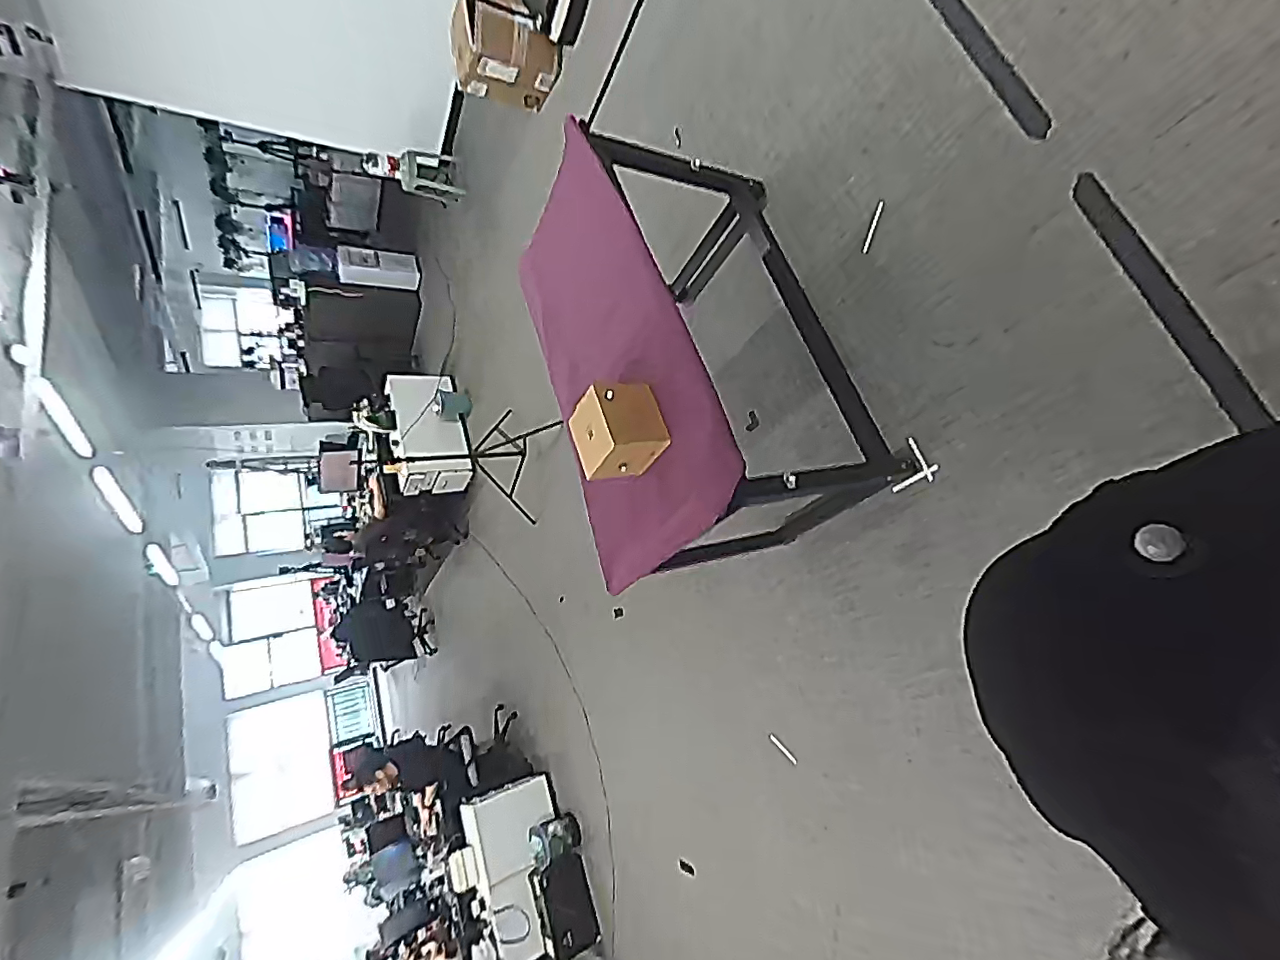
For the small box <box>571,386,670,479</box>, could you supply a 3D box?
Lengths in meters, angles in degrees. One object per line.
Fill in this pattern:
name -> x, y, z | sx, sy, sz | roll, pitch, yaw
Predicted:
small box -> -0.048, -0.122, 1.351 | 0.168, 0.176, 0.179 | -47, 56, 49
